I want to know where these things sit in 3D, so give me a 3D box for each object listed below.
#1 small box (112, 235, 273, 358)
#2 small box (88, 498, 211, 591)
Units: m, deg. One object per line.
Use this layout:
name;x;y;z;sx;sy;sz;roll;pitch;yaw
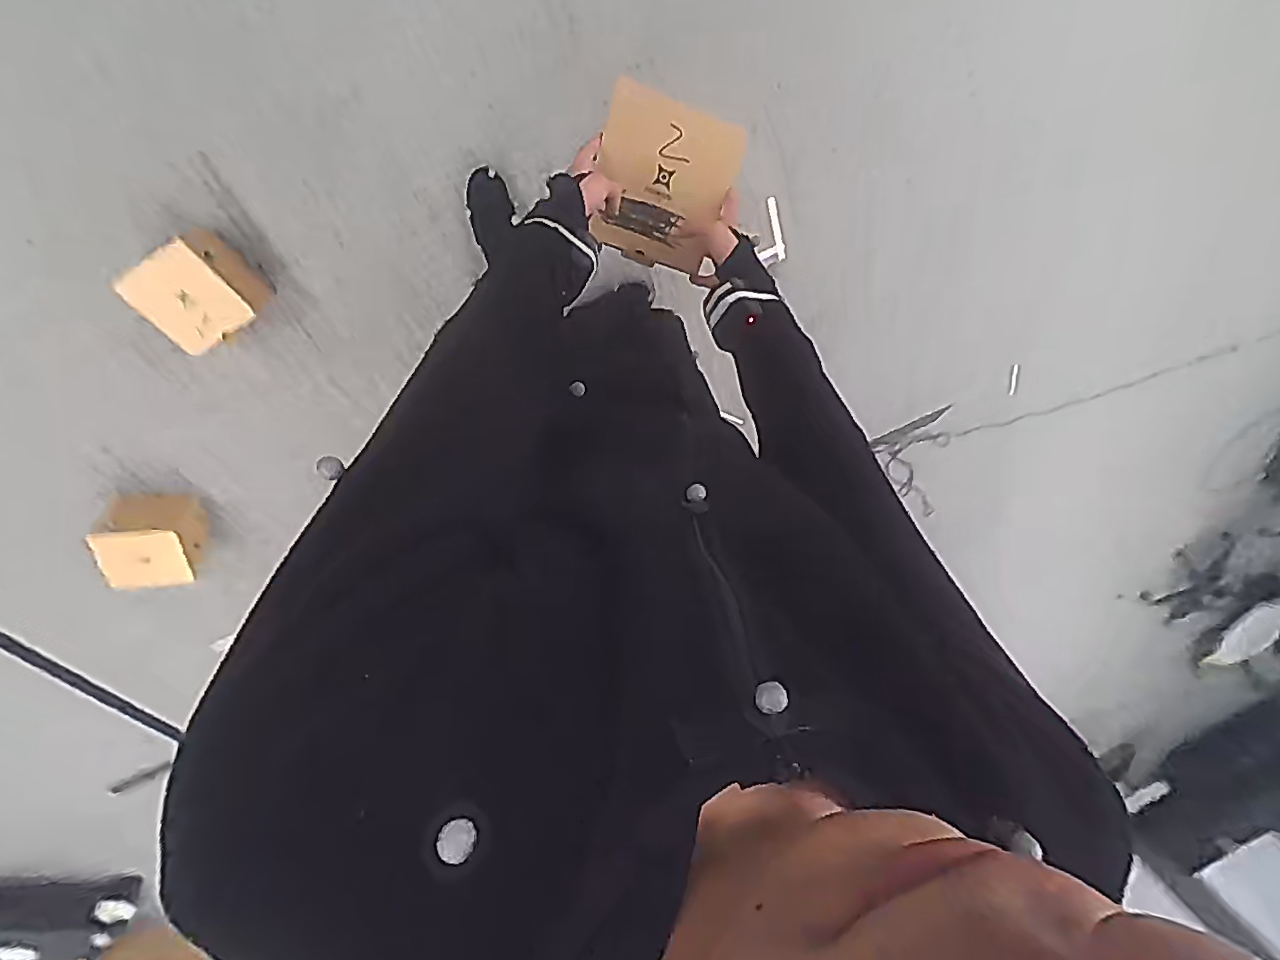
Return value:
small box;-0.925;-0.395;1.140;0.168;0.176;0.179;-33;127;2
small box;-1.241;0.159;1.388;0.179;0.176;0.168;-3;123;-18
